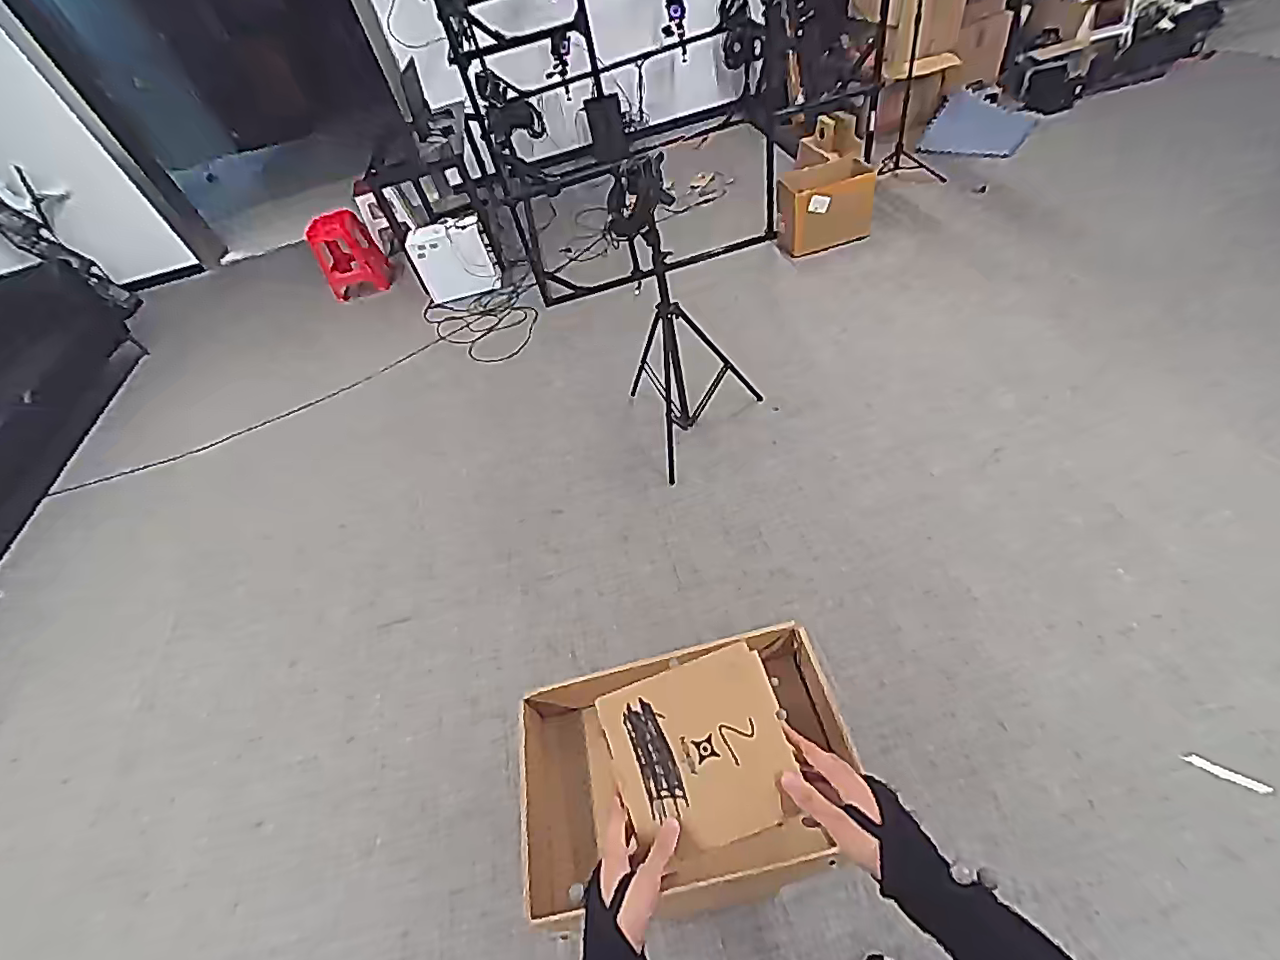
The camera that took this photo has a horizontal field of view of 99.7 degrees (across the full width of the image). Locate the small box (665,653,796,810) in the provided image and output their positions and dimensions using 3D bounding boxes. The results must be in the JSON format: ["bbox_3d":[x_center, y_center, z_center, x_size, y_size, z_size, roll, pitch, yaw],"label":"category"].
[{"bbox_3d":[0.151,0.426,0.913,0.168,0.176,0.179,-17,48,1],"label":"small box"}]
